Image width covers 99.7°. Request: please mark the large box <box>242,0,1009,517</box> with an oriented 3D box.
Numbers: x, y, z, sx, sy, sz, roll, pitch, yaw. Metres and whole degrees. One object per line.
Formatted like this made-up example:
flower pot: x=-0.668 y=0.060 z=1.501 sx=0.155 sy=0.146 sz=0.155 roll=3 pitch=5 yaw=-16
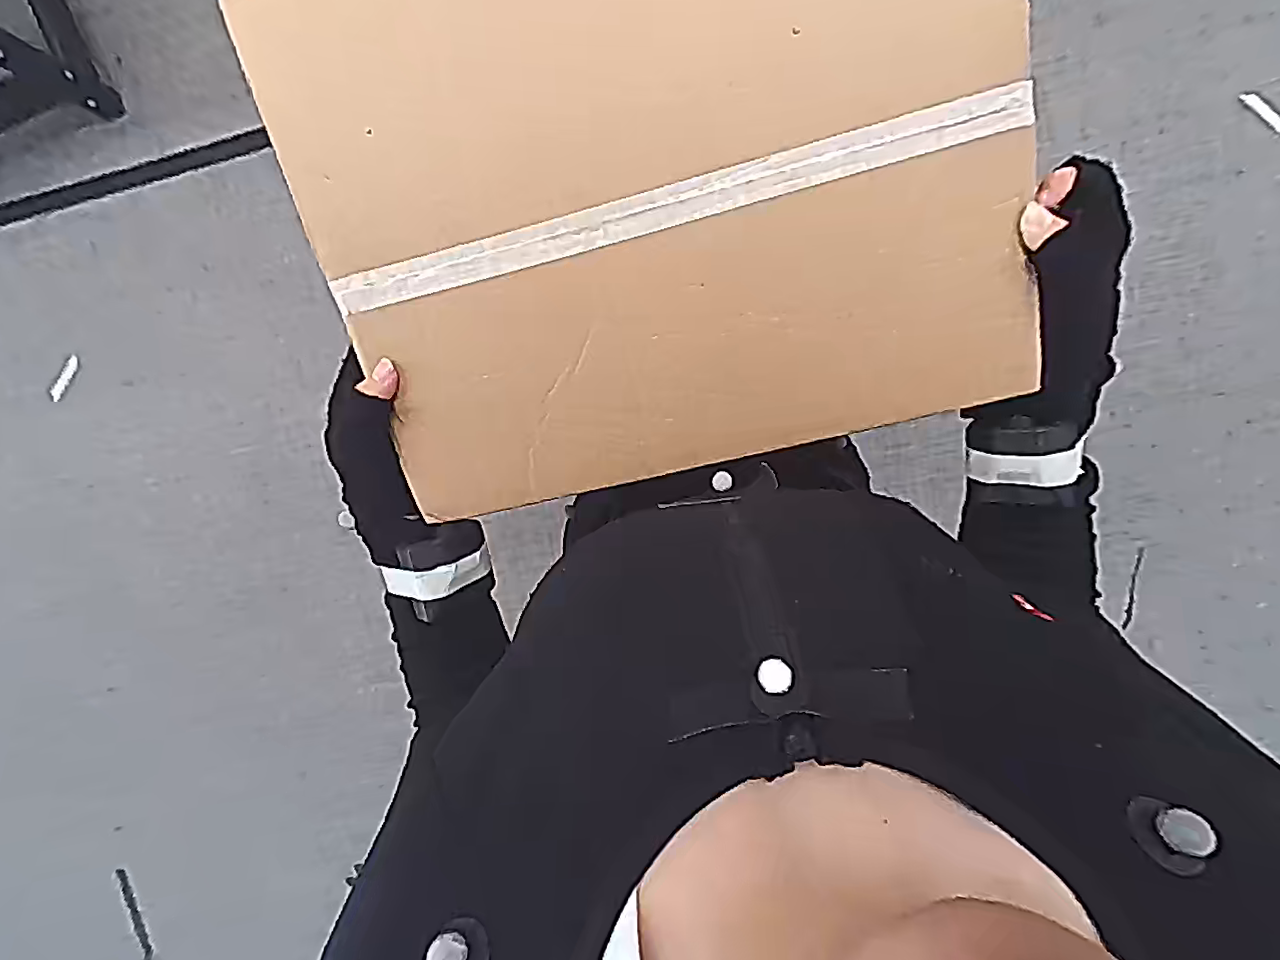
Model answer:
large box: x=0.013 y=-0.205 z=0.460 sx=0.408 sy=0.320 sz=0.320 roll=-13 pitch=107 yaw=7
